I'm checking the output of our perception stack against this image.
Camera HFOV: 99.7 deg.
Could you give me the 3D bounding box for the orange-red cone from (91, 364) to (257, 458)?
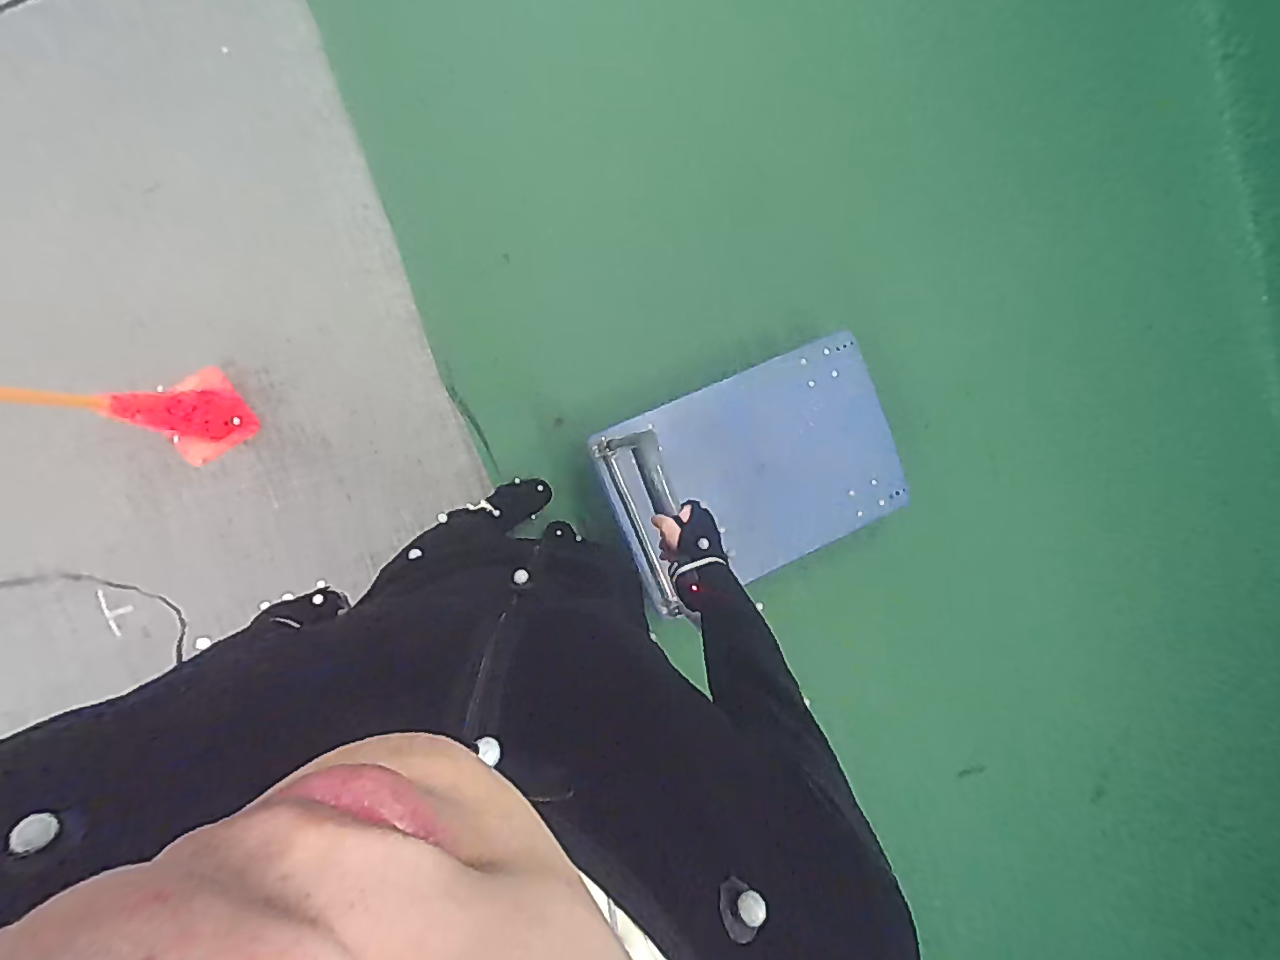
[{"bbox_3d":[-1.109,-0.175,1.249,0.198,0.360,0.199,-34,97,-9],"label":"orange-red cone"}]
